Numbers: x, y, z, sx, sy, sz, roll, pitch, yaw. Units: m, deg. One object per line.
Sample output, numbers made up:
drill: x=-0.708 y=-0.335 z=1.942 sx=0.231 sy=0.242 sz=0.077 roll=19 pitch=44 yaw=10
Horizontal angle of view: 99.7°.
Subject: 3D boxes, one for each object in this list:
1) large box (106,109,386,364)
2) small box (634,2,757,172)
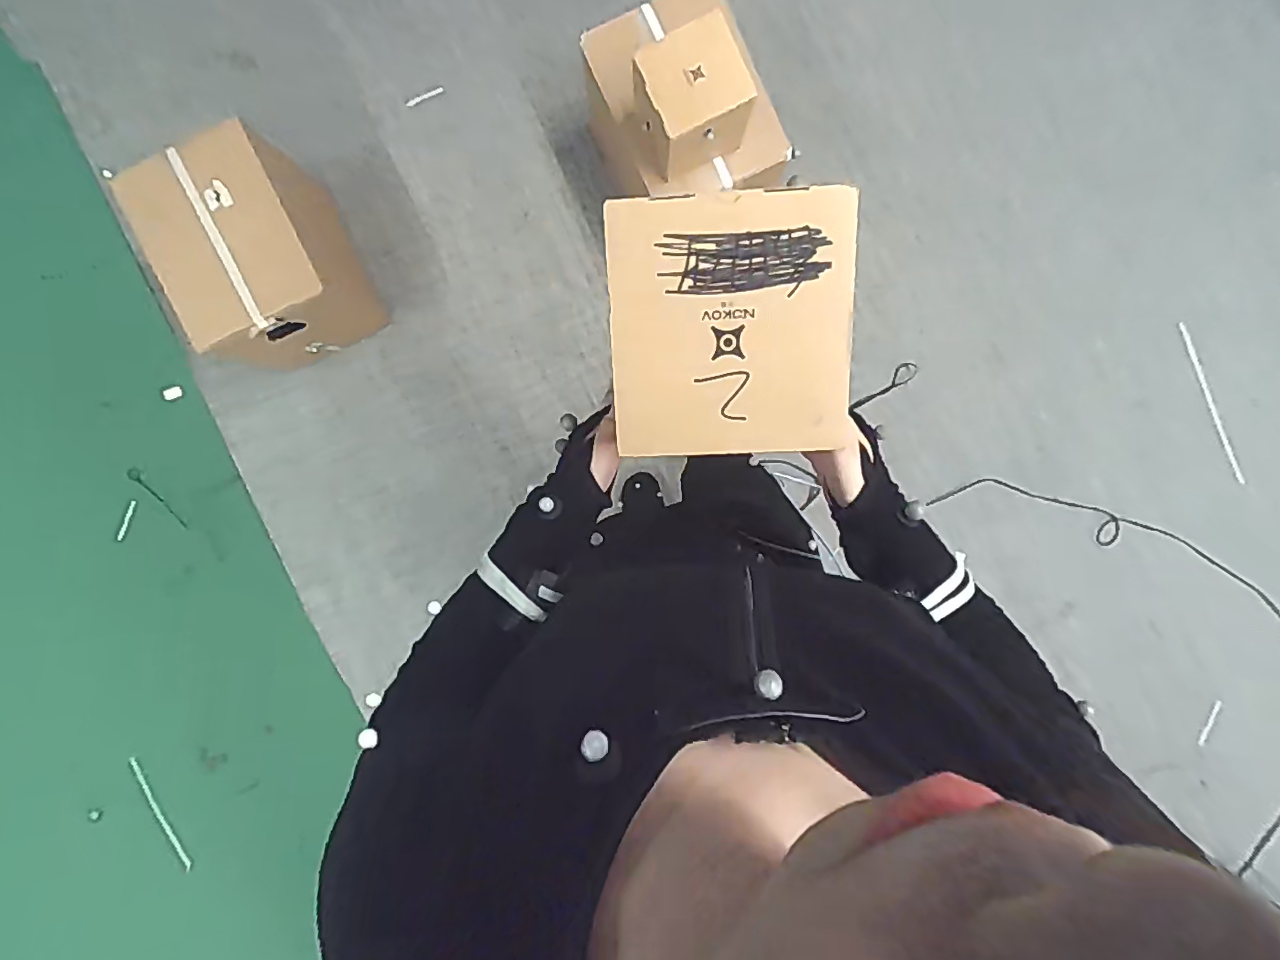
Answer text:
large box: x=-0.892 y=-0.537 z=1.283 sx=0.320 sy=0.320 sz=0.408 roll=-25 pitch=93 yaw=2
small box: x=0.099 y=-0.736 z=1.034 sx=0.179 sy=0.176 sz=0.168 roll=-25 pitch=95 yaw=4
